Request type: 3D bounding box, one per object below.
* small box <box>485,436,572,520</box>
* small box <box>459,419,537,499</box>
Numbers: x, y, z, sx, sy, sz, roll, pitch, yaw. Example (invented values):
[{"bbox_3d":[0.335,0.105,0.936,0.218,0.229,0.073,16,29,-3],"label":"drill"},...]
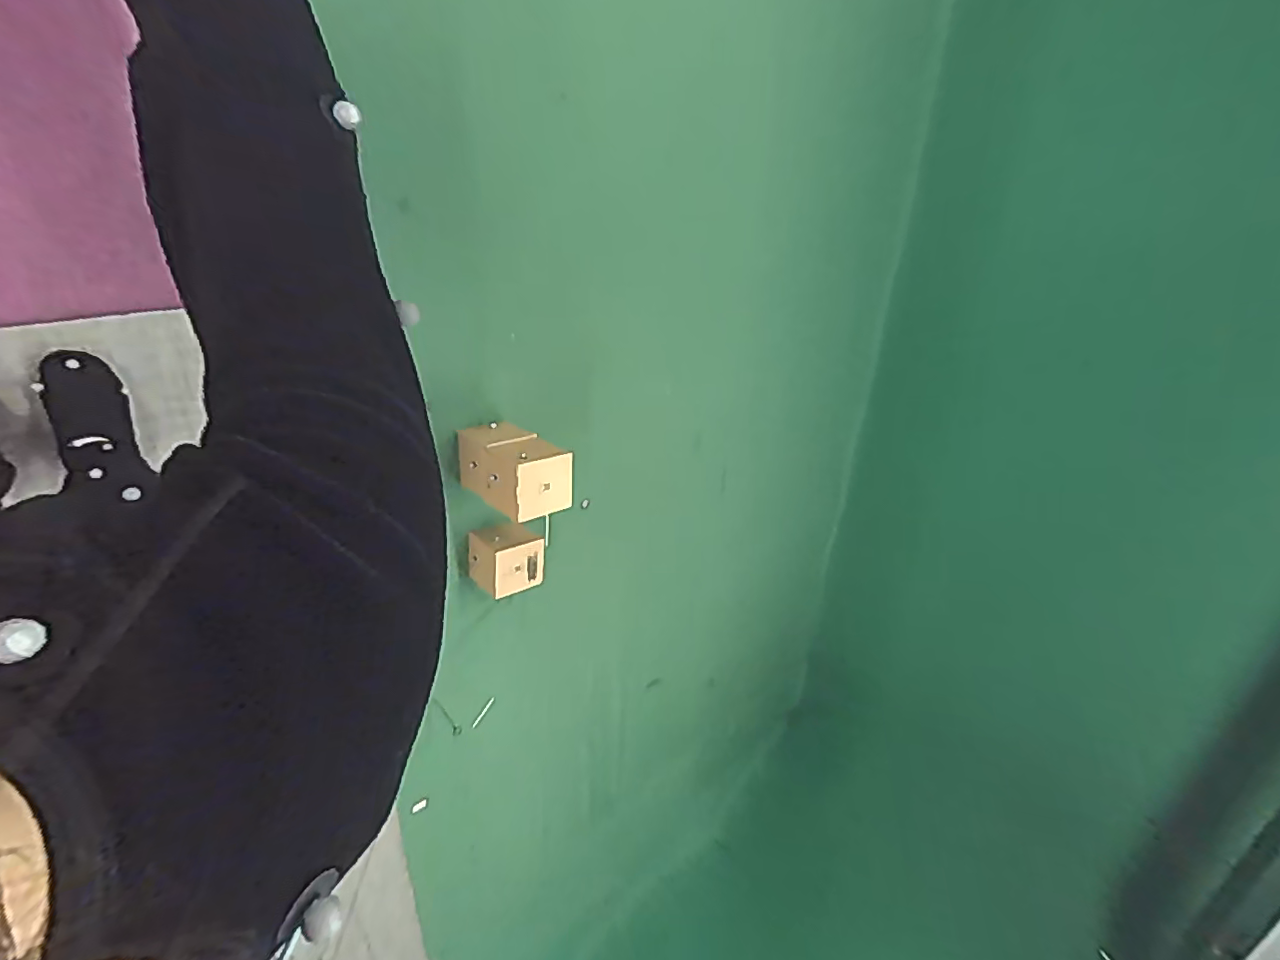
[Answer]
[{"bbox_3d":[-0.307,-0.012,1.488,0.179,0.176,0.168,-17,120,-41],"label":"small box"},{"bbox_3d":[-0.418,-0.066,1.595,0.168,0.176,0.179,-18,120,-41],"label":"small box"}]
